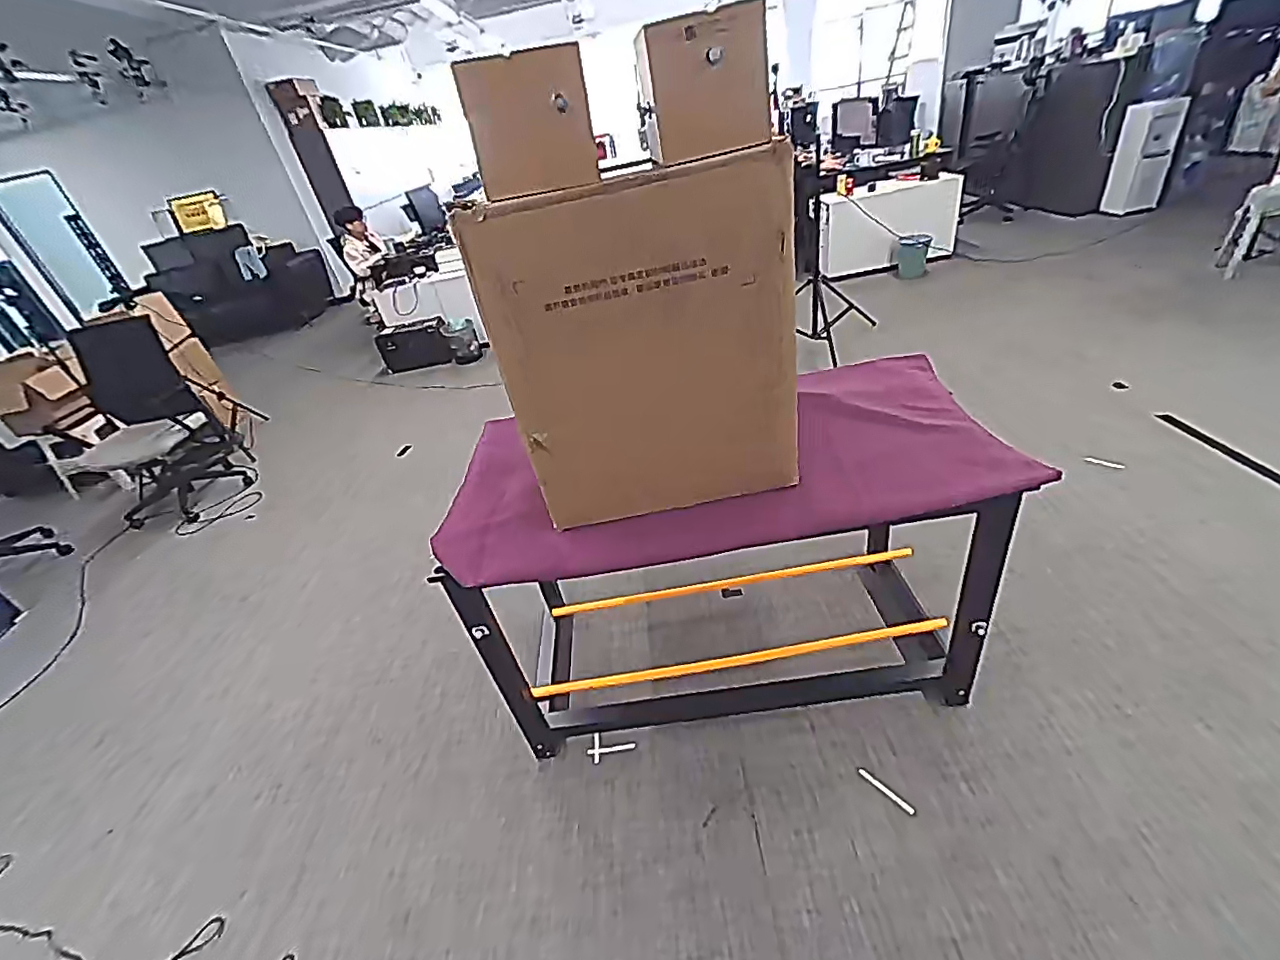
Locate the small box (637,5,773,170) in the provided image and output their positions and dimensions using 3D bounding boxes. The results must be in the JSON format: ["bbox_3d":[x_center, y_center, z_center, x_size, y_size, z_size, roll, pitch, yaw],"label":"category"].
[{"bbox_3d":[0.094,-0.586,0.817,0.168,0.176,0.179,-13,33,2],"label":"small box"}]
